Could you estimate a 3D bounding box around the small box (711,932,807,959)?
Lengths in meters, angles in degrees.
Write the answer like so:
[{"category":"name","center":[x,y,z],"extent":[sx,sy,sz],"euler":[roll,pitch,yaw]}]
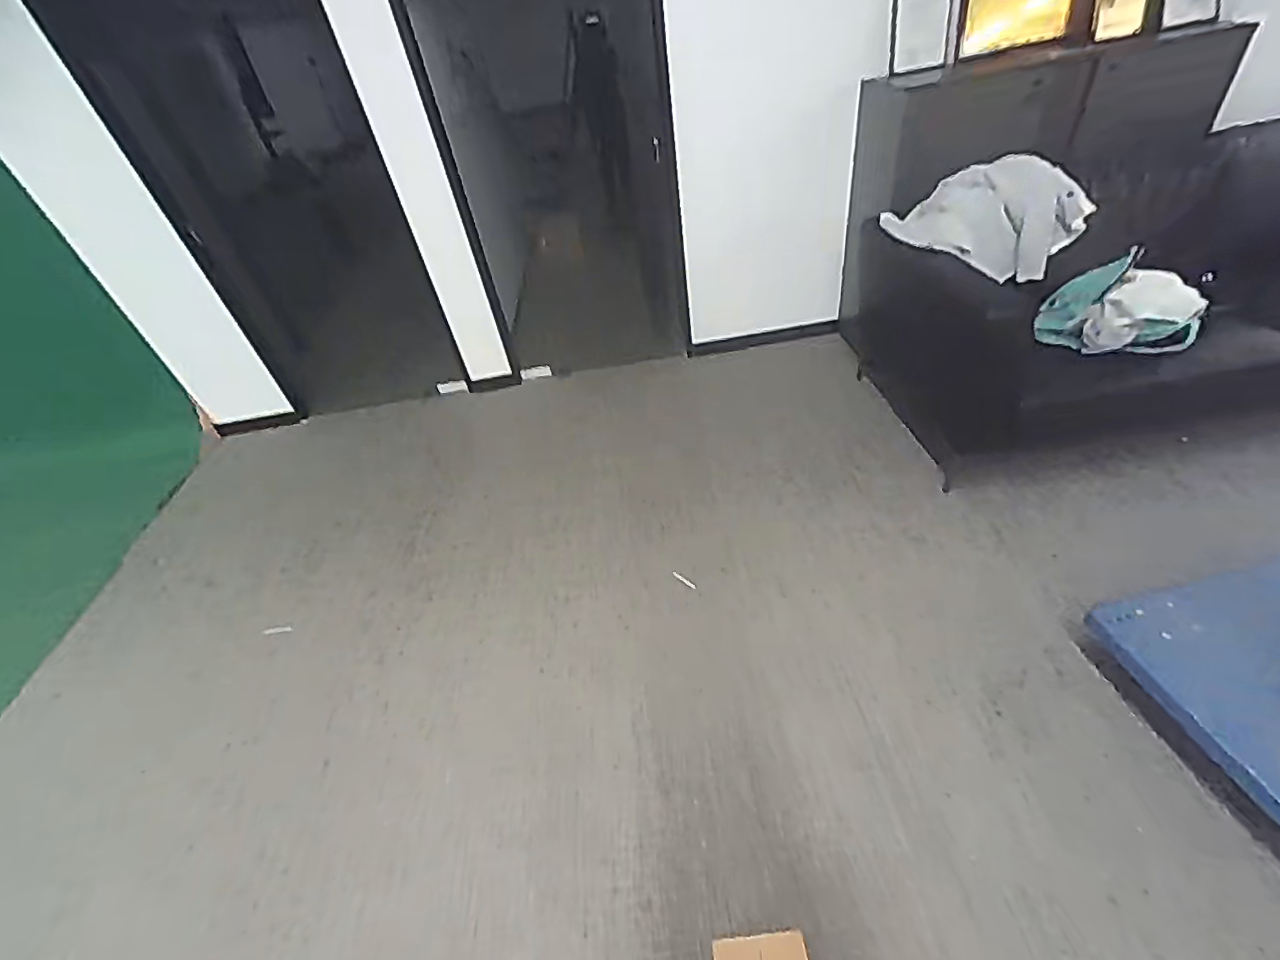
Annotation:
[{"category":"small box","center":[0.223,0.936,0.958],"extent":[0.168,0.176,0.179],"euler":[-8,40,3]}]
